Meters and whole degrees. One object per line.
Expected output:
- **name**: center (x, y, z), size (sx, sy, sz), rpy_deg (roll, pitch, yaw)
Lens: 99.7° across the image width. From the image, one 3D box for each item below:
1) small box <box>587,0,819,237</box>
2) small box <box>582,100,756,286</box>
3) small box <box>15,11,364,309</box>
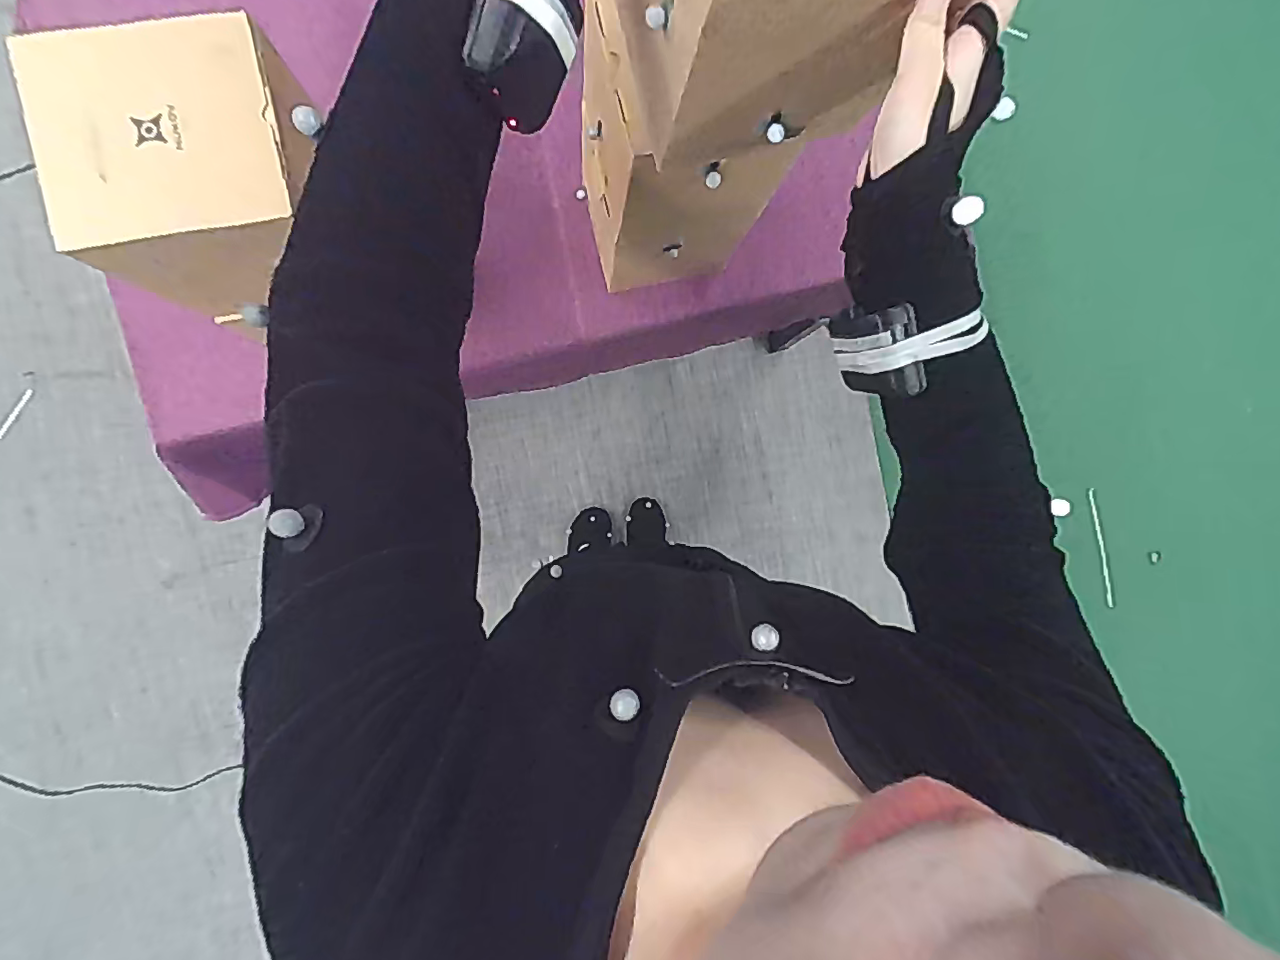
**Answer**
- **small box**: center (0.048, -0.369, 0.540), size (0.179, 0.176, 0.168), rpy_deg (-14, 92, -5)
- **small box**: center (0.028, -0.369, 0.701), size (0.179, 0.176, 0.168), rpy_deg (-13, 92, -6)
- **small box**: center (-0.378, -0.272, 0.496), size (0.179, 0.176, 0.168), rpy_deg (-11, 91, -5)
